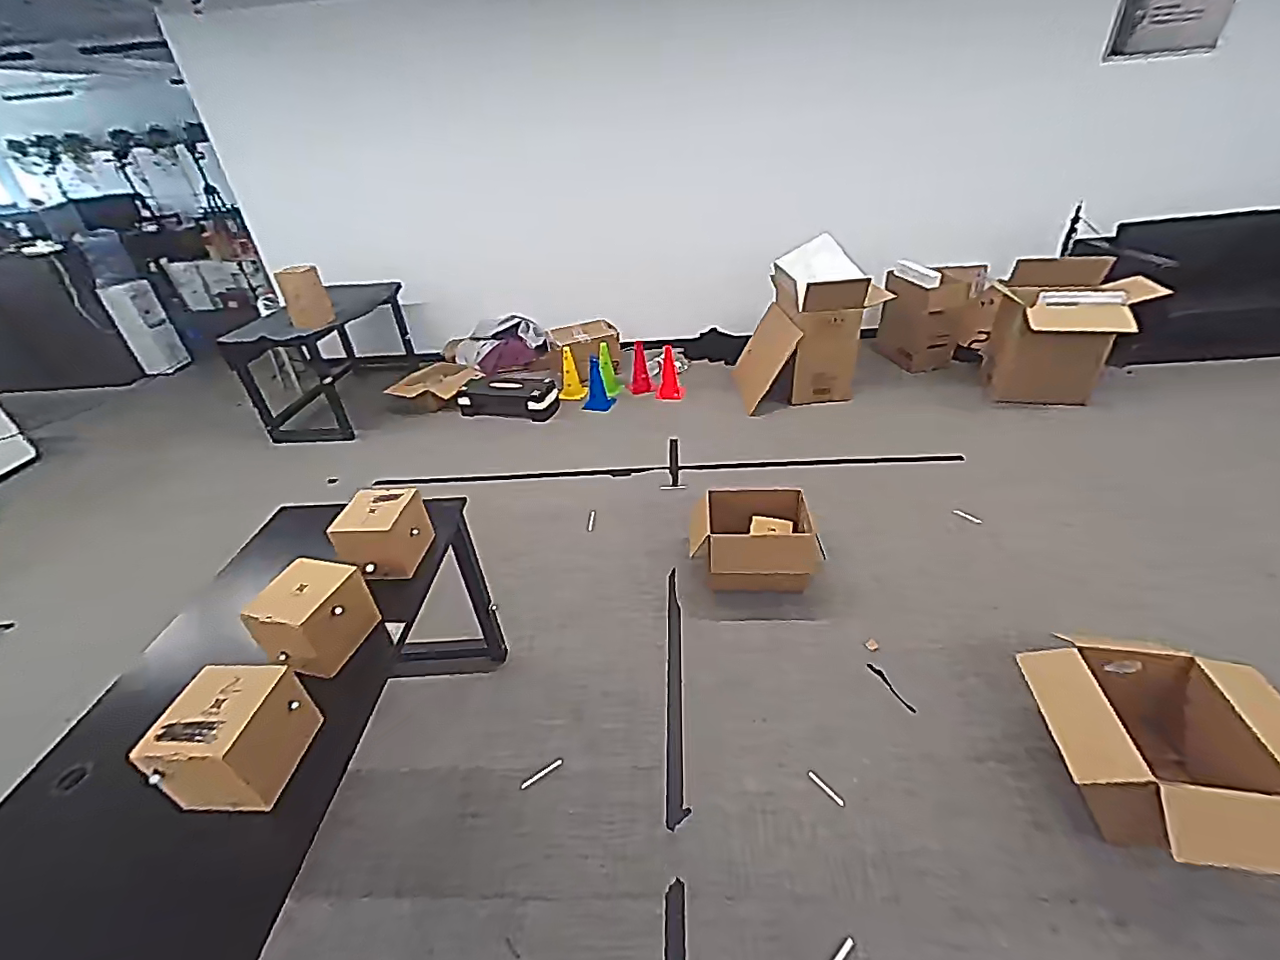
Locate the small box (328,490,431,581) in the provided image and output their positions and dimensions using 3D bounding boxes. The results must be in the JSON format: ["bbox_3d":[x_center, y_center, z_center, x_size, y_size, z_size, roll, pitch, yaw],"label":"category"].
[{"bbox_3d":[-0.671,0.145,1.422,0.168,0.176,0.179,-2,35,6],"label":"small box"}]

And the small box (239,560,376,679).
[{"bbox_3d":[-0.717,0.305,1.196,0.168,0.176,0.179,4,36,15],"label":"small box"}]
